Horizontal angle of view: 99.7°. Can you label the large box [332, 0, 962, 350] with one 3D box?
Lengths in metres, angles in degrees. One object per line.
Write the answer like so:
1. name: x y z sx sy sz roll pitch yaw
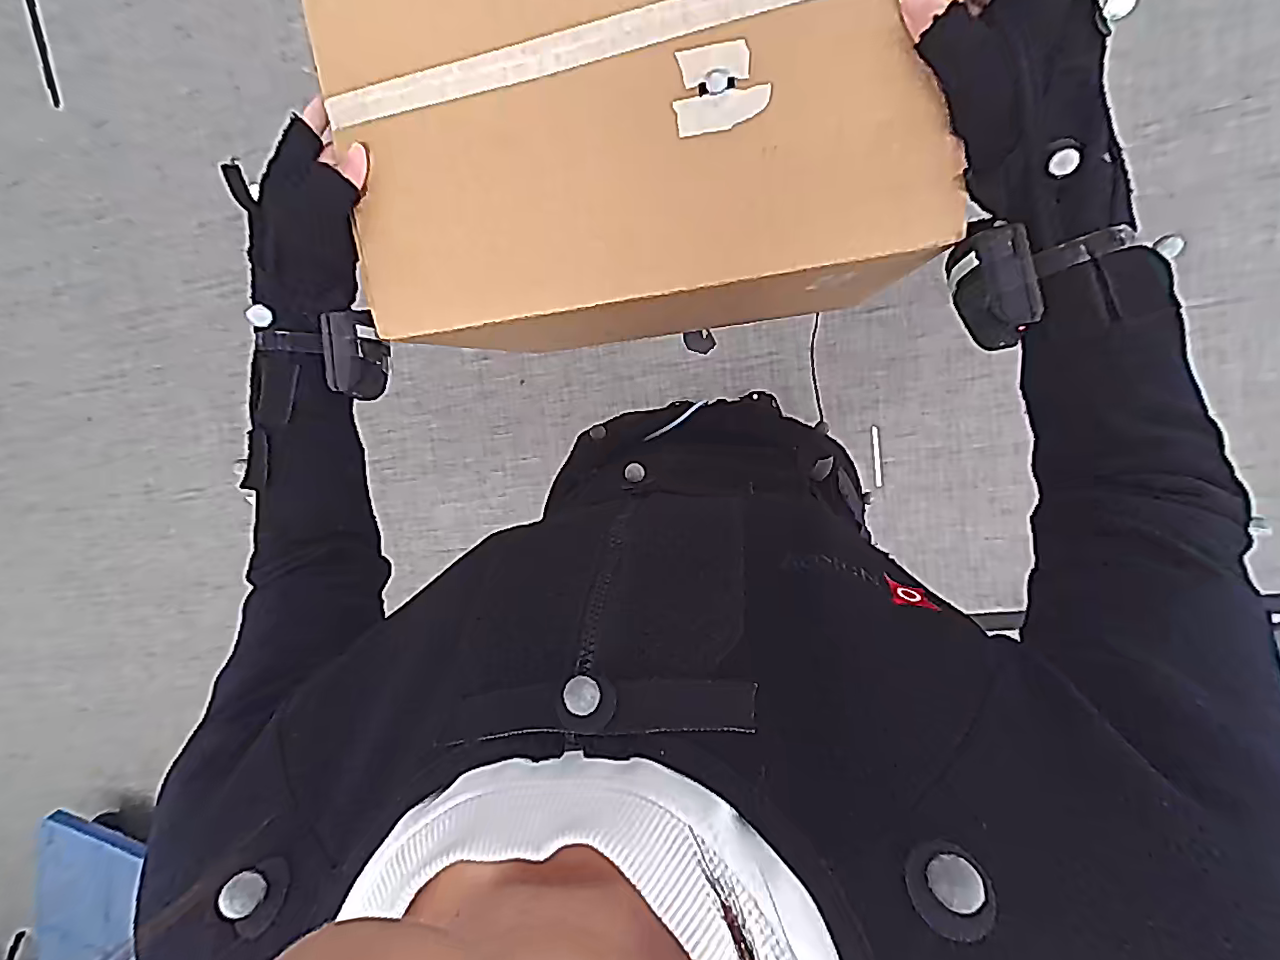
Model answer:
1. large box: 0.011 -0.313 0.497 0.408 0.320 0.320 -6 100 11
